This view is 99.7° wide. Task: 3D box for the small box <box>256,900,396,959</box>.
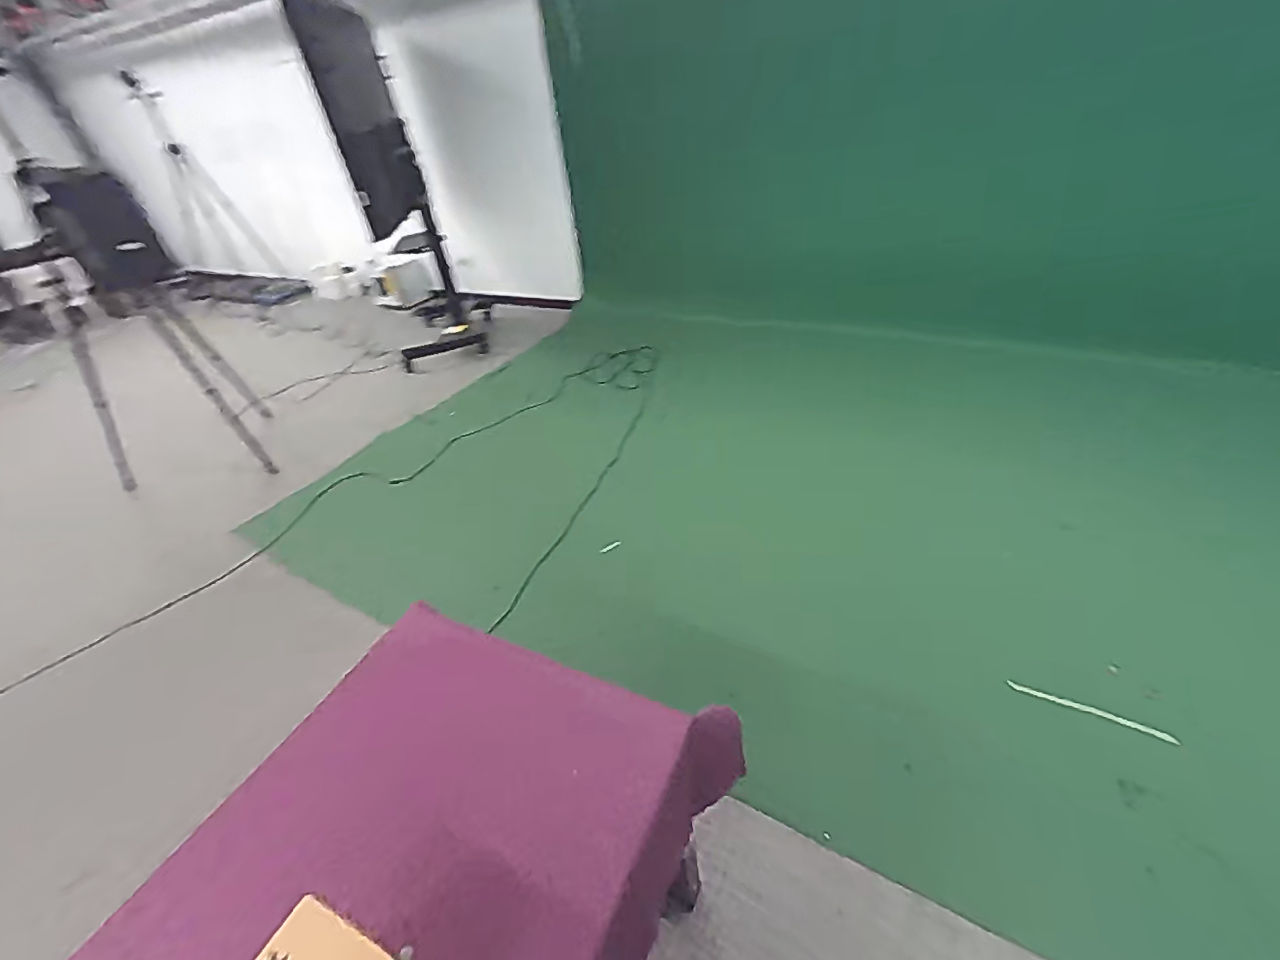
[{"bbox_3d":[-0.297,0.559,0.517,0.179,0.176,0.168,12,40,23],"label":"small box"}]
